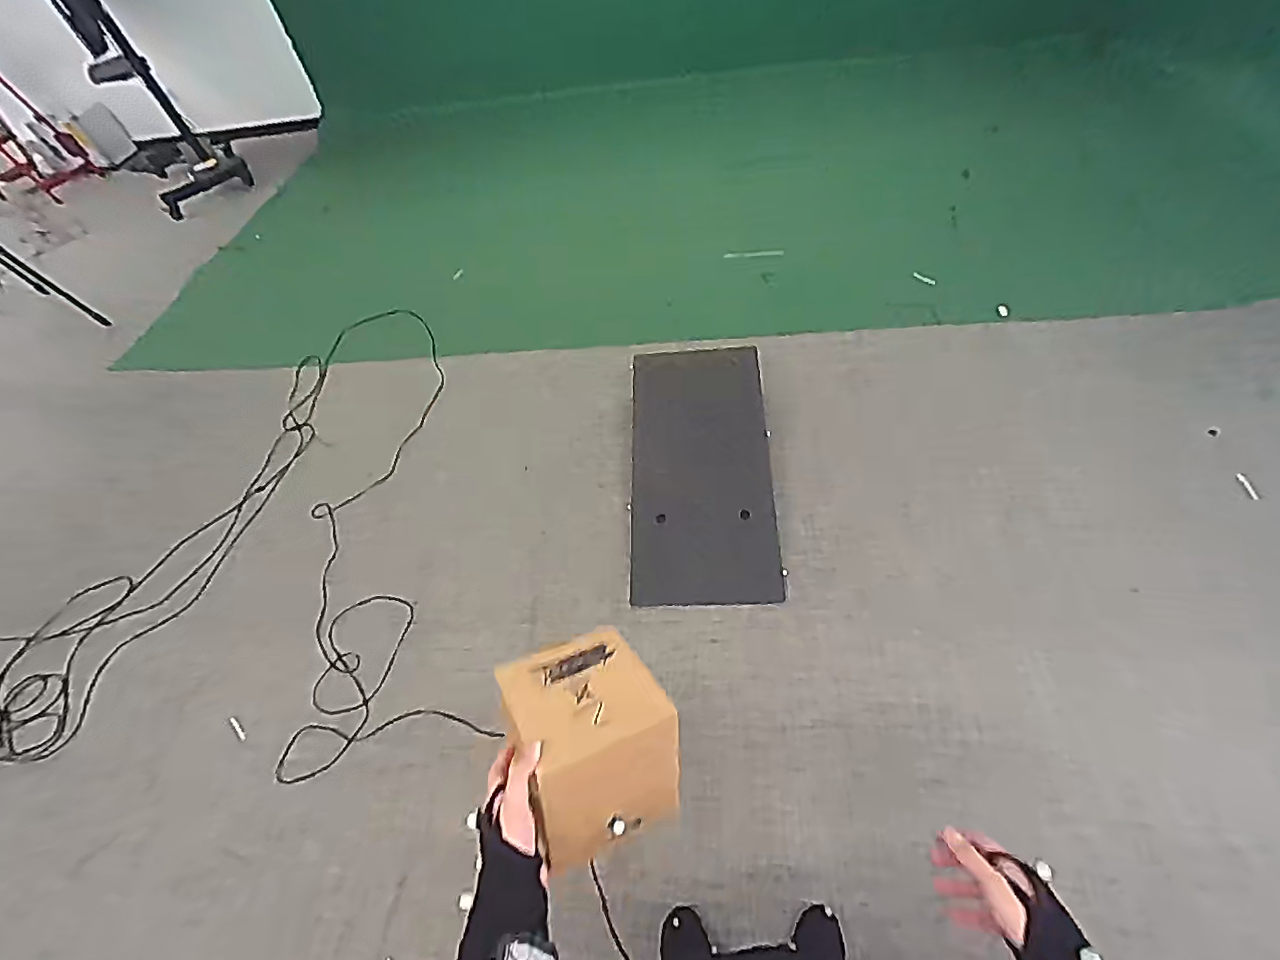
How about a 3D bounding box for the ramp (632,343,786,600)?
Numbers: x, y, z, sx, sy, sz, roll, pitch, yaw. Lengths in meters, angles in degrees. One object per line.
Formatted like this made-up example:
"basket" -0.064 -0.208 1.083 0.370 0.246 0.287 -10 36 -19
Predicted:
"ramp" 0.219 -0.074 1.919 0.509 0.206 0.991 -3 54 4
